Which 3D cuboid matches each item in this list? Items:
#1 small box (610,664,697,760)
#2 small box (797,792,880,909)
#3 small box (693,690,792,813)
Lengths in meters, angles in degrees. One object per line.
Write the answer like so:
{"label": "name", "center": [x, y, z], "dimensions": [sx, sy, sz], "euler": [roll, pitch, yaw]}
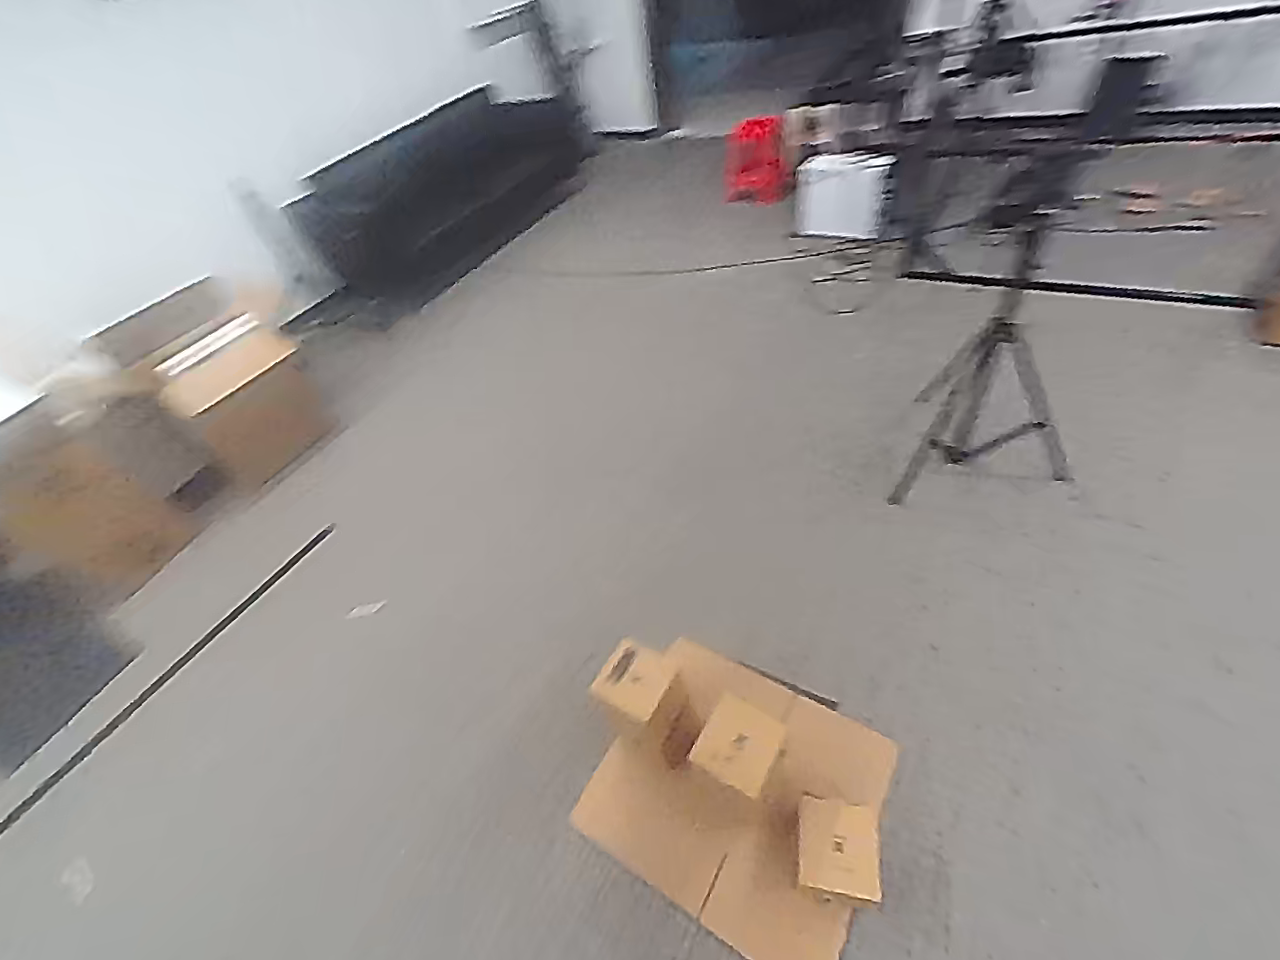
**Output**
{"label": "small box", "center": [0.045, 0.660, 1.523], "dimensions": [0.179, 0.176, 0.168], "euler": [19, 54, 29]}
{"label": "small box", "center": [0.451, 0.854, 1.245], "dimensions": [0.168, 0.176, 0.179], "euler": [2, 47, 17]}
{"label": "small box", "center": [0.241, 0.638, 1.270], "dimensions": [0.168, 0.176, 0.179], "euler": [22, 56, 29]}
